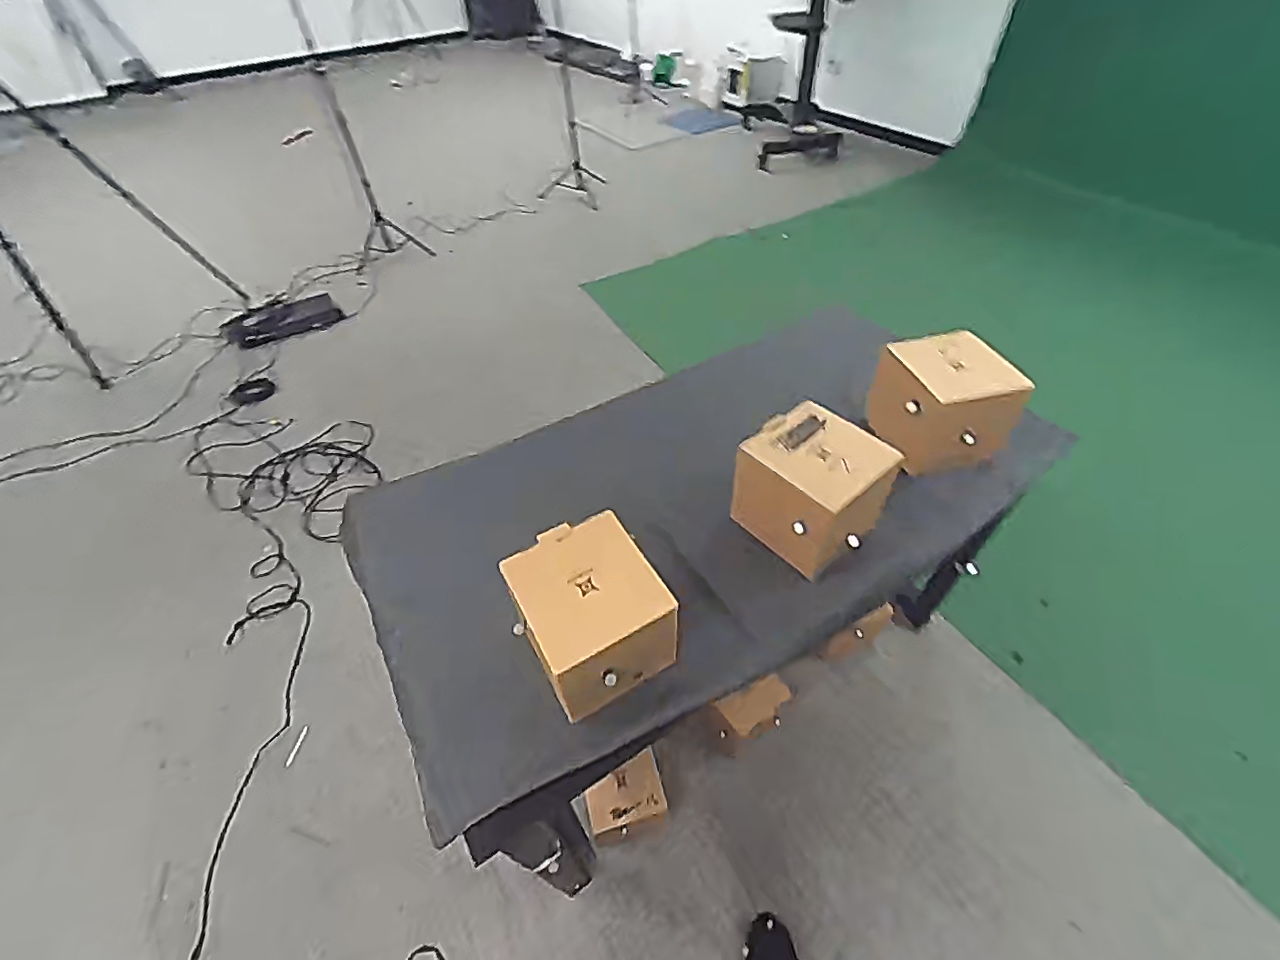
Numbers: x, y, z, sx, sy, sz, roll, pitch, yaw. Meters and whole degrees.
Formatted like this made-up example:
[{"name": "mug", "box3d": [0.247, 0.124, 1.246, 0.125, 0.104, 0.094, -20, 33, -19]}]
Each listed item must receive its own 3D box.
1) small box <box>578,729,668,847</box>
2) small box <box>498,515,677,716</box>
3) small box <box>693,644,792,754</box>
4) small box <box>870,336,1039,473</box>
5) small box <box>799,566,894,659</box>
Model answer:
[{"name": "small box", "box3d": [-0.040, 0.702, 1.230, 0.168, 0.176, 0.179, -13, 48, -8]}, {"name": "small box", "box3d": [-0.063, 0.185, 0.715, 0.168, 0.176, 0.179, -25, 52, -18]}, {"name": "small box", "box3d": [0.248, 0.553, 1.347, 0.168, 0.176, 0.179, -28, 52, -21]}, {"name": "small box", "box3d": [0.540, -0.127, 0.957, 0.168, 0.176, 0.179, -10, 46, -6]}, {"name": "small box", "box3d": [0.557, 0.370, 1.494, 0.179, 0.176, 0.168, -15, 50, -12]}]
